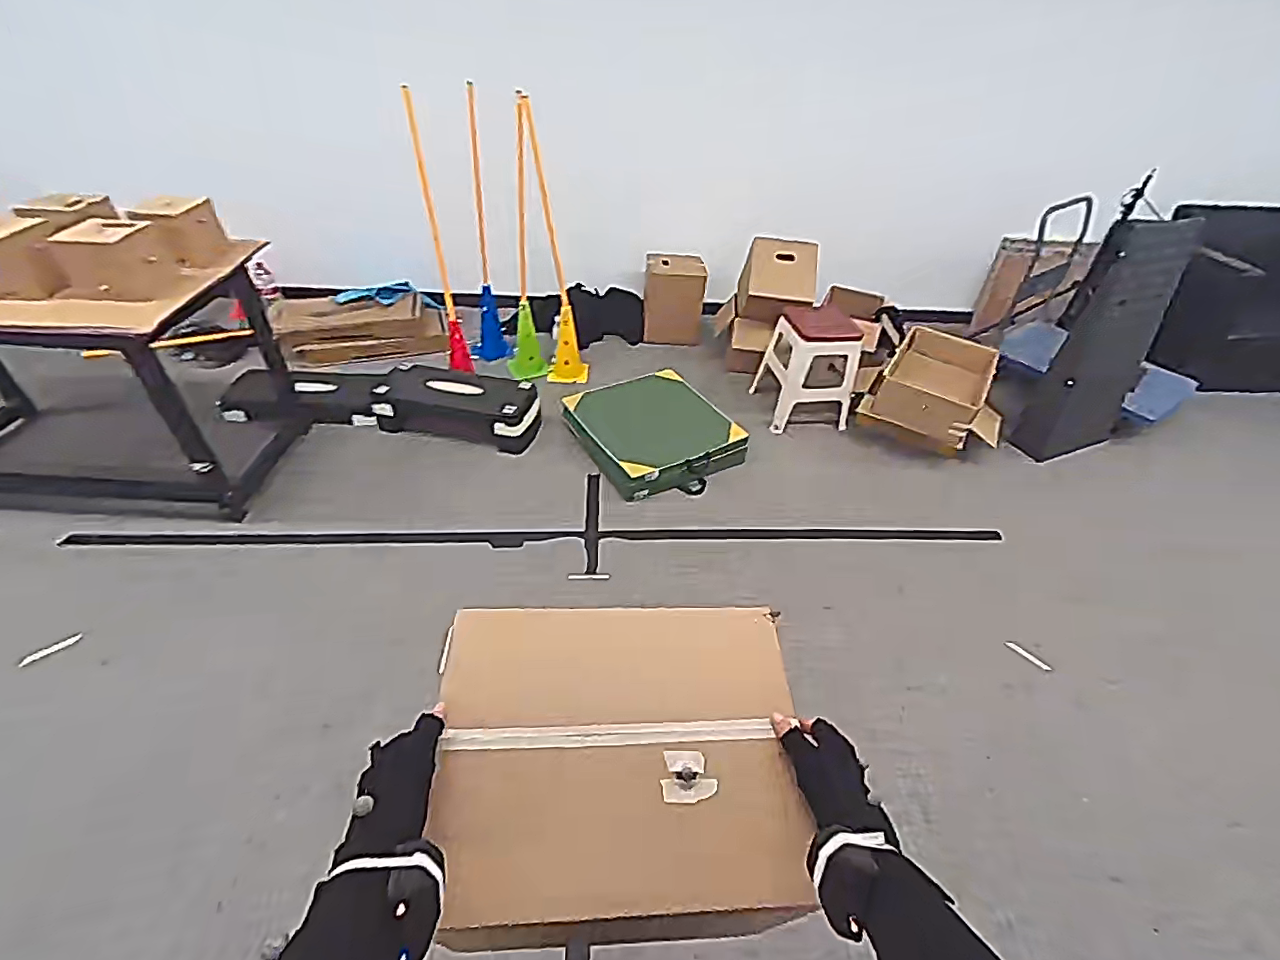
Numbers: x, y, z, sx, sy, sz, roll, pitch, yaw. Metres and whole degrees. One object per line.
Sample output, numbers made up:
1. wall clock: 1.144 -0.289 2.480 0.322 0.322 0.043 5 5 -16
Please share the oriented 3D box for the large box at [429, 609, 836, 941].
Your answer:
1. large box: -0.024 0.388 0.723 0.408 0.320 0.320 1 47 -6
